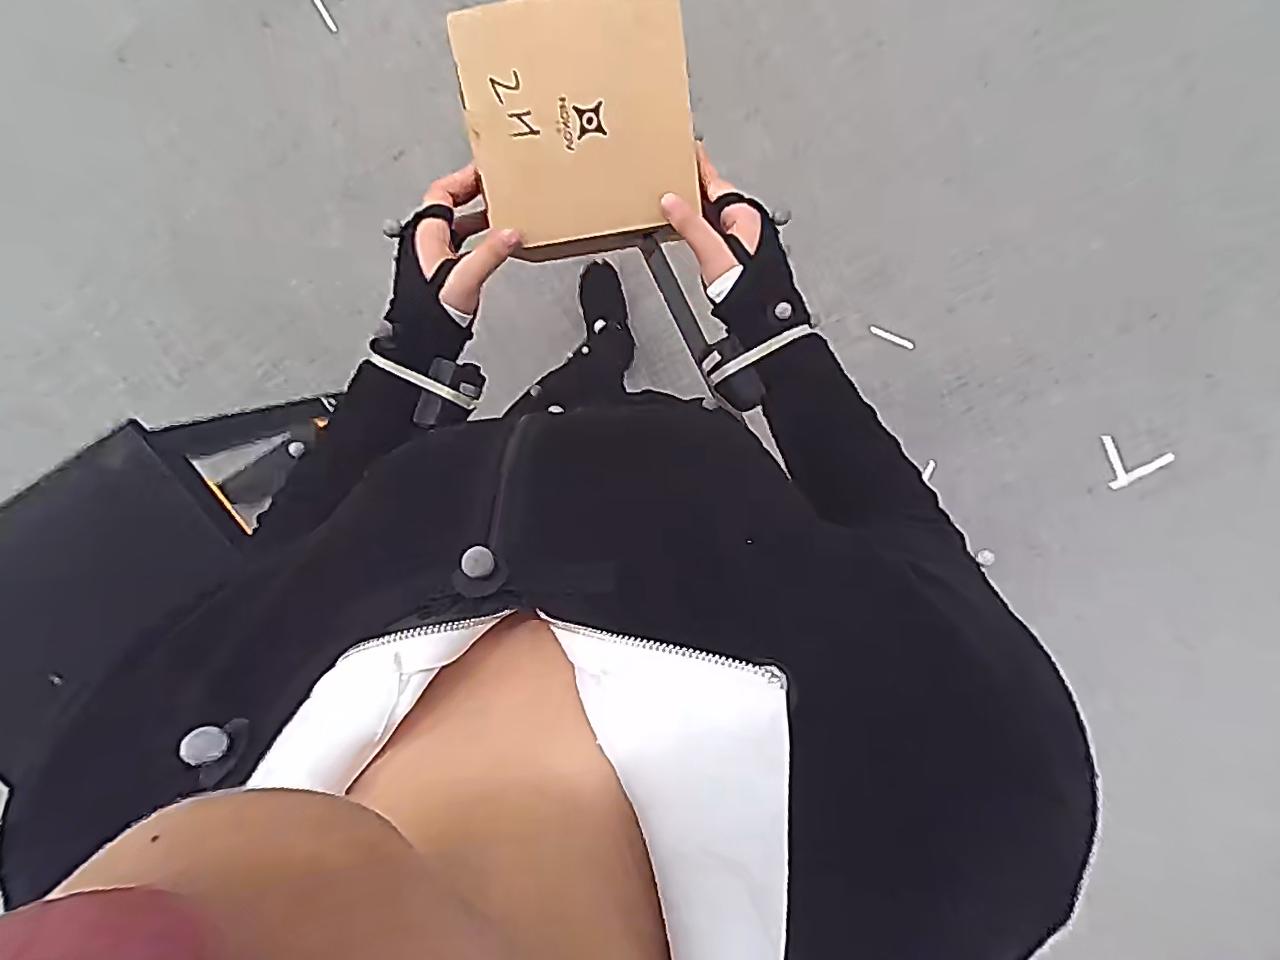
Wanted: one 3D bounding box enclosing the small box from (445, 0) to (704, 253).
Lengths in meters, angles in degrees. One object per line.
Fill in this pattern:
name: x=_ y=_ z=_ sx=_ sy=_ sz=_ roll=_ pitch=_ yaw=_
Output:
small box: x=-0.044 y=-0.305 z=0.483 sx=0.179 sy=0.176 sz=0.168 roll=-7 pitch=108 yaw=4
